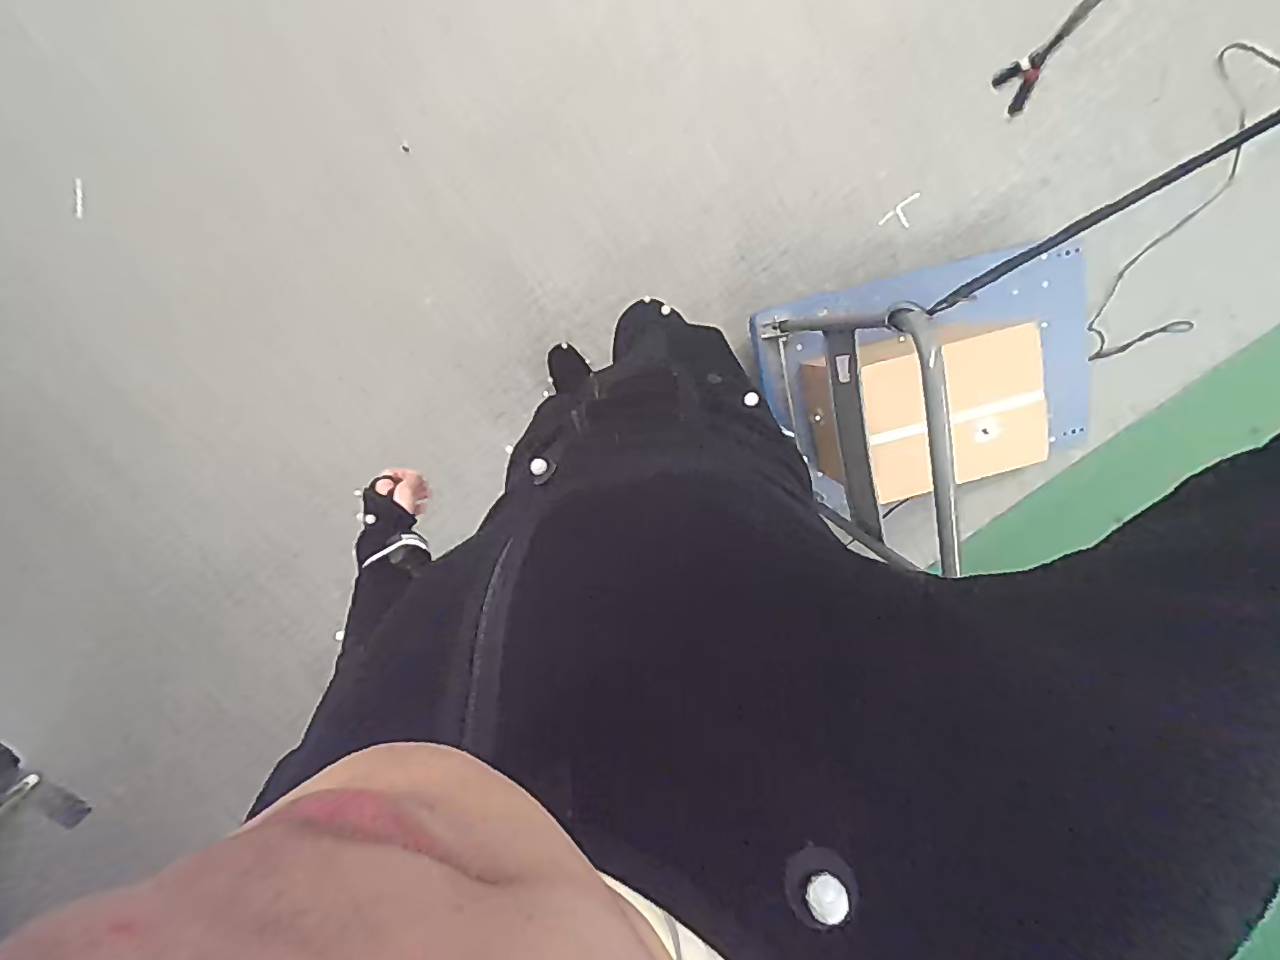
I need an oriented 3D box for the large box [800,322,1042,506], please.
[{"bbox_3d":[0.650,-0.170,1.298,0.408,0.320,0.320,-14,106,-1],"label":"large box"}]
